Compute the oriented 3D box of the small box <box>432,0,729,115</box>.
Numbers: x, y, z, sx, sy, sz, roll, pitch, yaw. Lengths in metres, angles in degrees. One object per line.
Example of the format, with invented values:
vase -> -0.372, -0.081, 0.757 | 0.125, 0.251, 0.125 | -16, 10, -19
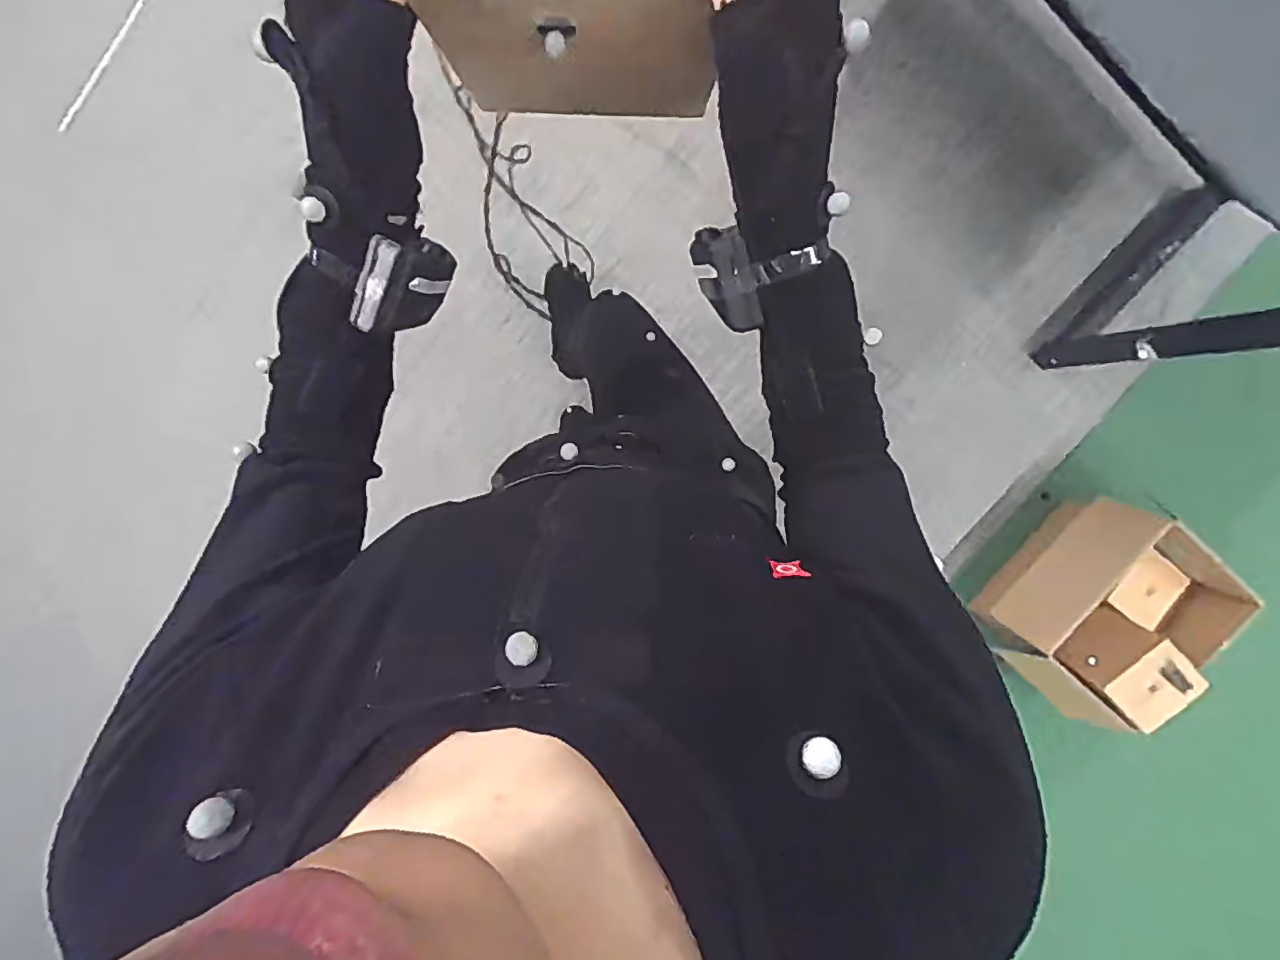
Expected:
small box -> -0.033, -0.341, 0.321 | 0.179, 0.176, 0.168 | 1, 105, -2
